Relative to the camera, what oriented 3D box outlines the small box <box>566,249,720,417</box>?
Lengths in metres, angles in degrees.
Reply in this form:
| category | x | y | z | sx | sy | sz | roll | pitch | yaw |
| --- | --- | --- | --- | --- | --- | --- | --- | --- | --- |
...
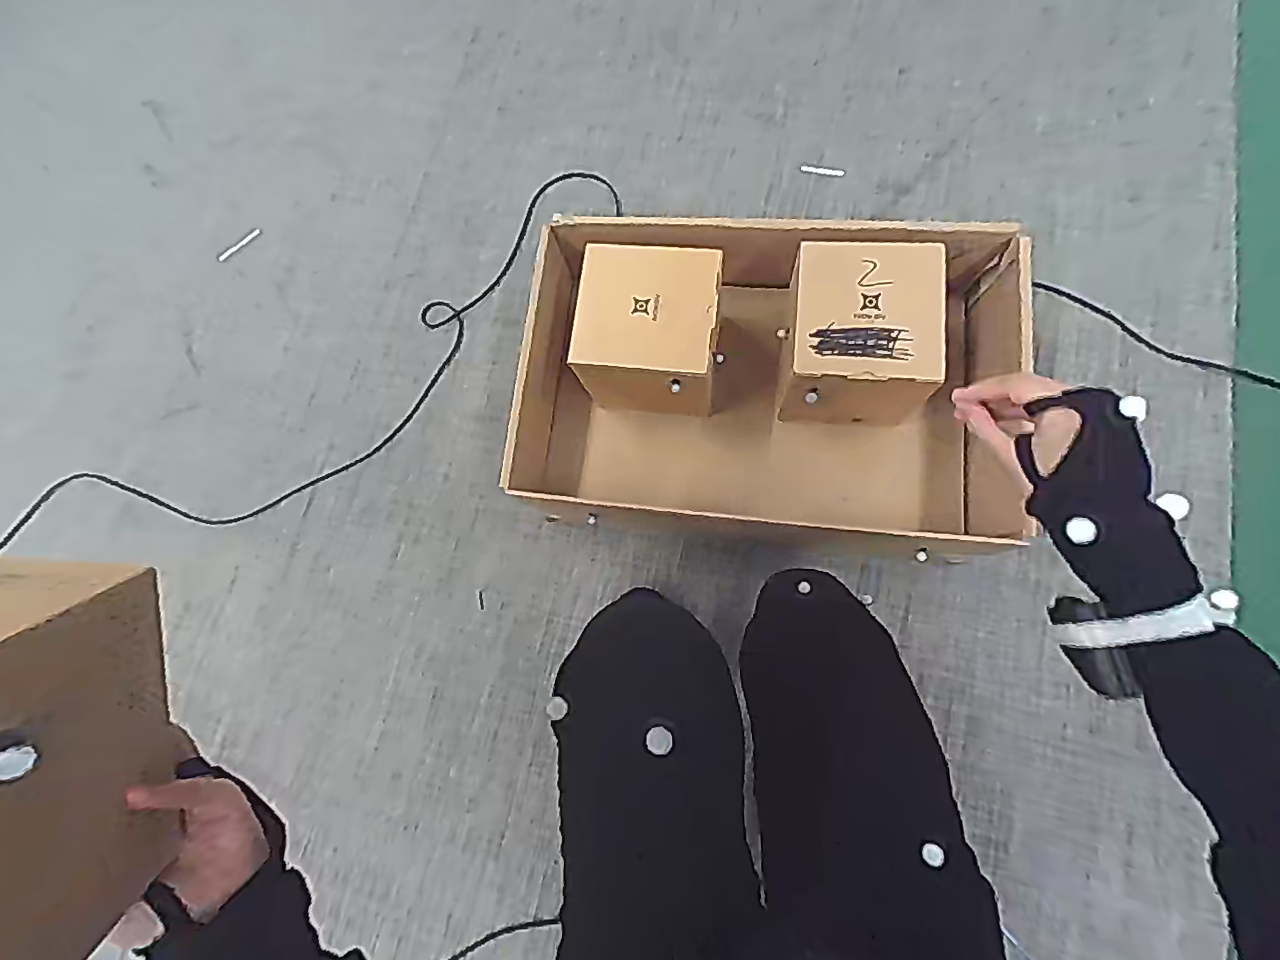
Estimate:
| category | x | y | z | sx | sy | sz | roll | pitch | yaw |
| --- | --- | --- | --- | --- | --- | --- | --- | --- | --- |
| small box | 0.013 | -0.193 | 0.743 | 0.179 | 0.176 | 0.168 | 6 | 80 | 7 |

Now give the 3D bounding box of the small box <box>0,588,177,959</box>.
| category | x | y | z | sx | sy | sz | roll | pitch | yaw |
| --- | --- | --- | --- | --- | --- | --- | --- | --- | --- |
| small box | -0.332 | 0.147 | 0.212 | 0.168 | 0.176 | 0.179 | 4 | 102 | -6 |
